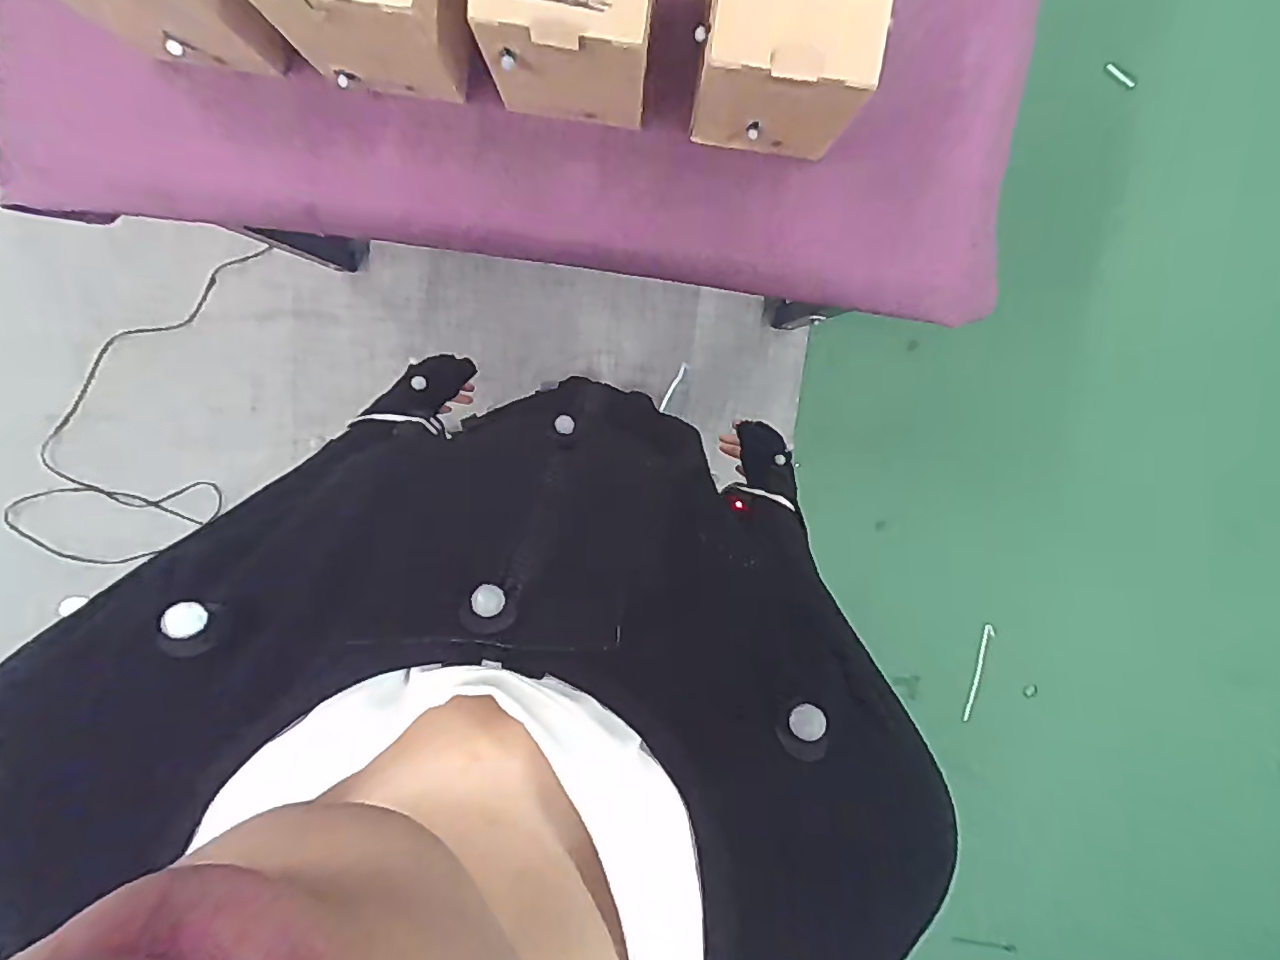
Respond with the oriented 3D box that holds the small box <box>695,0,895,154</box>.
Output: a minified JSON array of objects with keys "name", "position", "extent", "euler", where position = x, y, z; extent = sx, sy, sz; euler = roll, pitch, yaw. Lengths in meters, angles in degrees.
[{"name":"small box","position":[0.157,-0.486,0.579],"extent":[0.168,0.176,0.179],"euler":[7,101,-3]}]

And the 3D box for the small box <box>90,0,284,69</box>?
[{"name":"small box","position":[-0.489,-0.568,0.545],"extent":[0.168,0.176,0.179],"euler":[7,100,-3]}]
